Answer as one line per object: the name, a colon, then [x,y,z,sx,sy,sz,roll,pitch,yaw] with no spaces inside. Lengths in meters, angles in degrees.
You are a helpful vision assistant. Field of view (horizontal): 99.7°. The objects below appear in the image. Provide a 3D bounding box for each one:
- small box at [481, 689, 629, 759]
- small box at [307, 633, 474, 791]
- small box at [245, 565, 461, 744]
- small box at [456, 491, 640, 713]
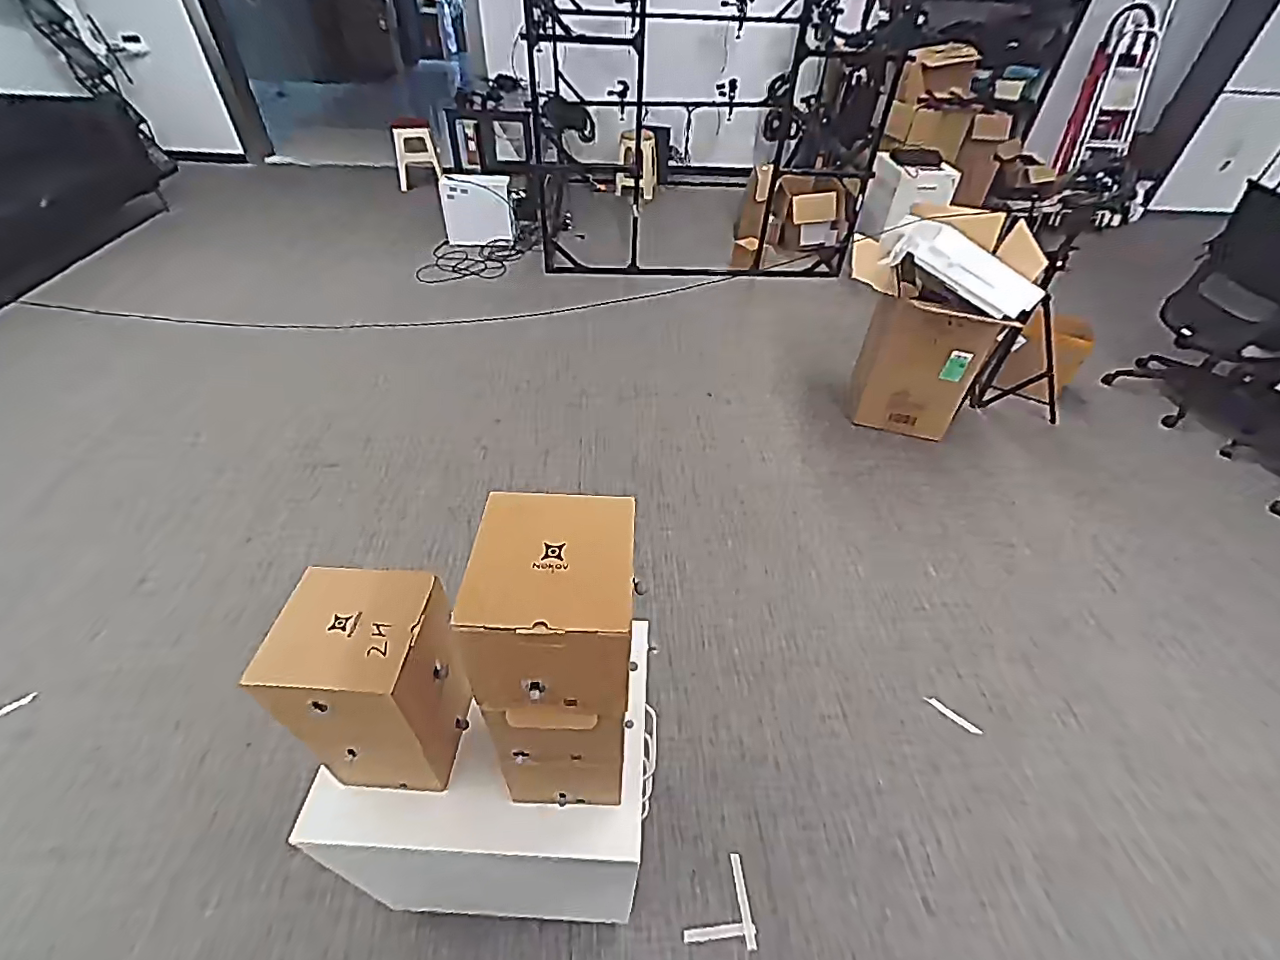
small box: [-0.097,0.251,0.717,0.168,0.176,0.179,2,43,-1]
small box: [-0.365,0.350,0.833,0.168,0.176,0.179,4,43,1]
small box: [-0.358,0.233,0.717,0.179,0.176,0.168,4,45,0]
small box: [-0.089,0.135,0.603,0.168,0.176,0.179,2,44,-1]
